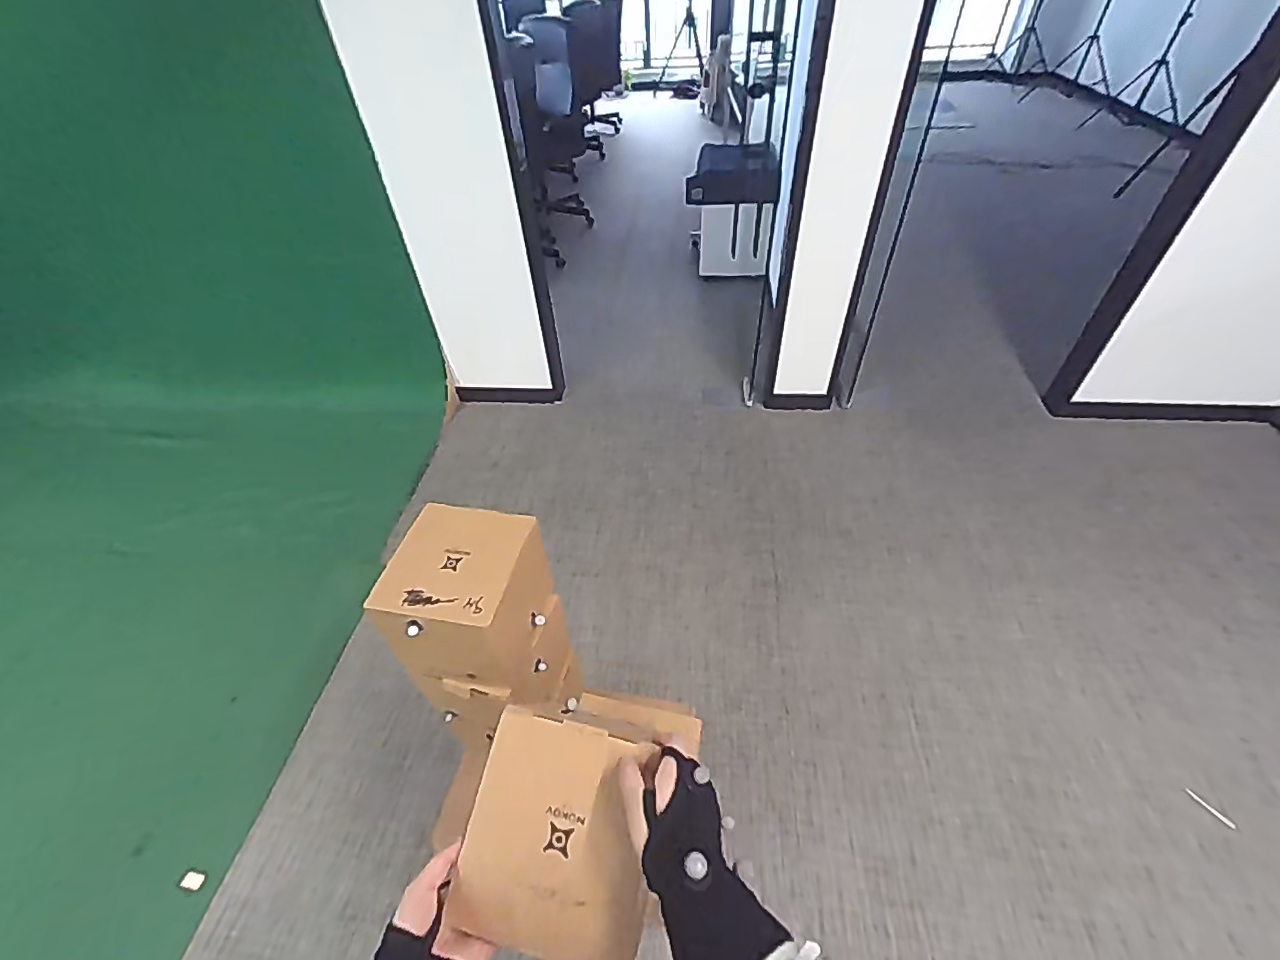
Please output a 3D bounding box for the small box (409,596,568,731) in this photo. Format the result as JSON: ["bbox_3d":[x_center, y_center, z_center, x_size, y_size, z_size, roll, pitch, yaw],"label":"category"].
[{"bbox_3d":[-0.227,0.287,0.866,0.168,0.176,0.179,12,46,14],"label":"small box"}]

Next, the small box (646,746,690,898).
[{"bbox_3d":[-0.010,0.527,0.845,0.168,0.176,0.179,5,45,7],"label":"small box"}]

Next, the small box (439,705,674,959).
[{"bbox_3d":[-0.063,0.334,0.539,0.168,0.176,0.179,11,71,11],"label":"small box"}]

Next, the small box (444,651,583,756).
[{"bbox_3d":[-0.217,0.405,0.980,0.179,0.176,0.168,11,47,12],"label":"small box"}]

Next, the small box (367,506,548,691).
[{"bbox_3d":[-0.235,0.164,0.756,0.168,0.176,0.179,6,45,10],"label":"small box"}]
